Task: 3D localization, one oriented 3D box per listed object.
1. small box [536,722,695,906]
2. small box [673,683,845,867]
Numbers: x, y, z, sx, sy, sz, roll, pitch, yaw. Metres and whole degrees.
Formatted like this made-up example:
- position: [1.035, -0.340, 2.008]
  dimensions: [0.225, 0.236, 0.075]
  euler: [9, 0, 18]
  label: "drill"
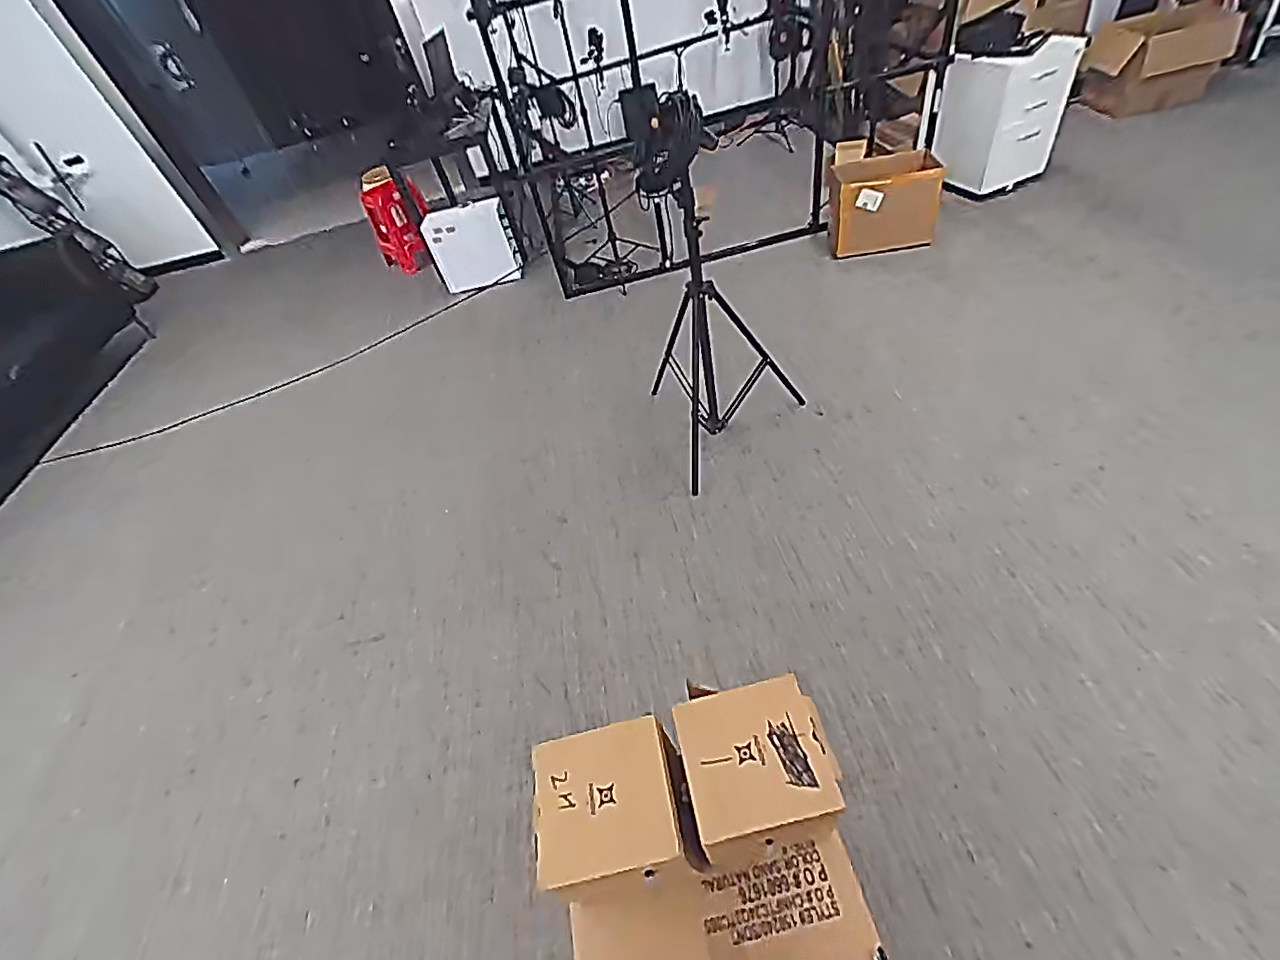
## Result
- position: [-0.029, 0.458, 0.737]
  dimensions: [0.179, 0.176, 0.168]
  euler: [-16, 46, 3]
  label: "small box"
- position: [0.154, 0.405, 0.738]
  dimensions: [0.179, 0.176, 0.168]
  euler: [-15, 47, 0]
  label: "small box"
